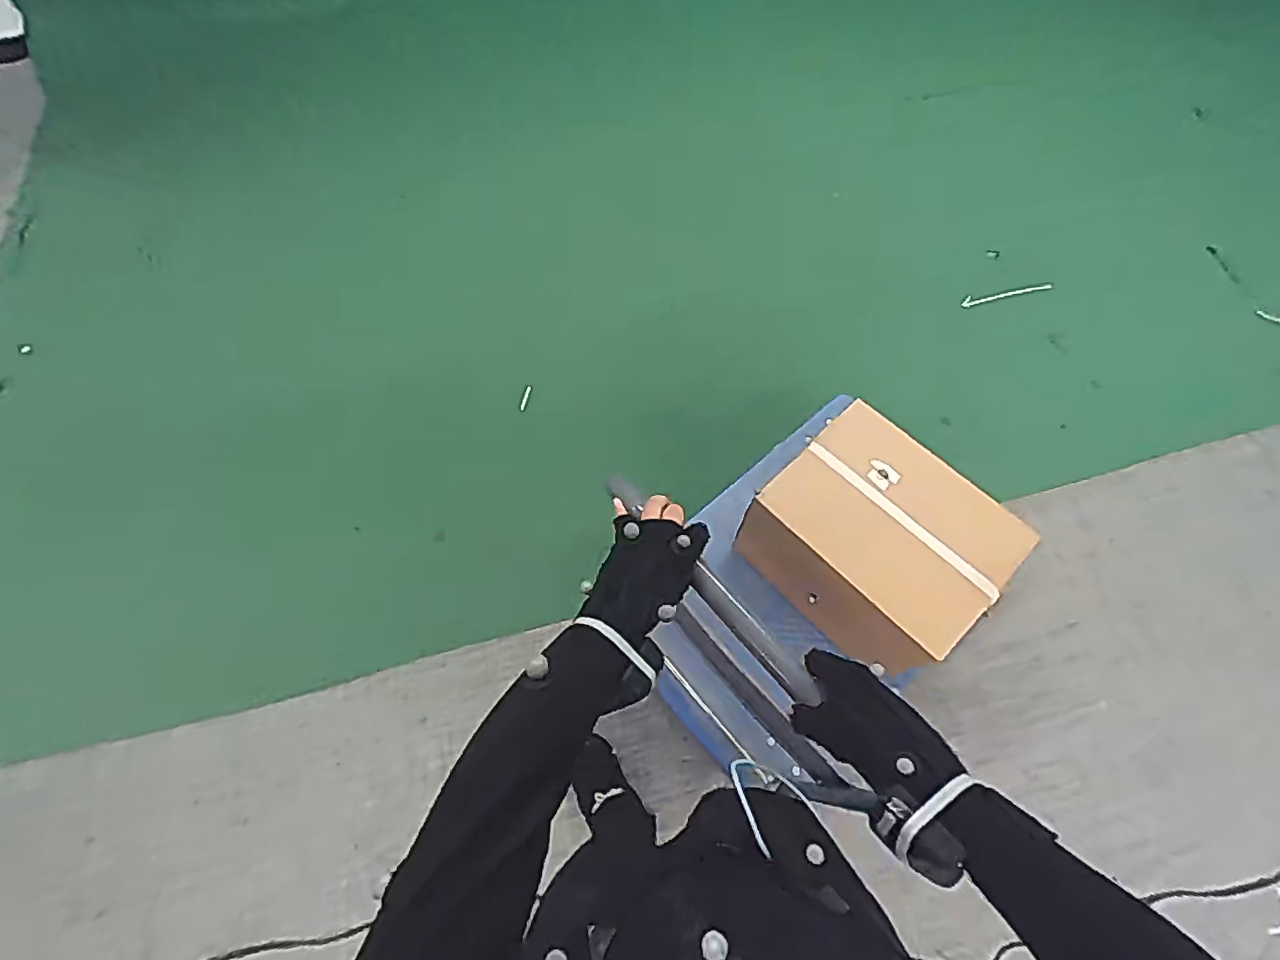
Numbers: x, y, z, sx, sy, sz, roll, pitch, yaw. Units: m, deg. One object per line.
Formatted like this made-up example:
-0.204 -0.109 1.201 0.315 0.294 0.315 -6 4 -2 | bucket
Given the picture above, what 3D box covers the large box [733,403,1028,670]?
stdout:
0.456 0.127 1.122 0.320 0.320 0.408 -41 70 -16 | large box
